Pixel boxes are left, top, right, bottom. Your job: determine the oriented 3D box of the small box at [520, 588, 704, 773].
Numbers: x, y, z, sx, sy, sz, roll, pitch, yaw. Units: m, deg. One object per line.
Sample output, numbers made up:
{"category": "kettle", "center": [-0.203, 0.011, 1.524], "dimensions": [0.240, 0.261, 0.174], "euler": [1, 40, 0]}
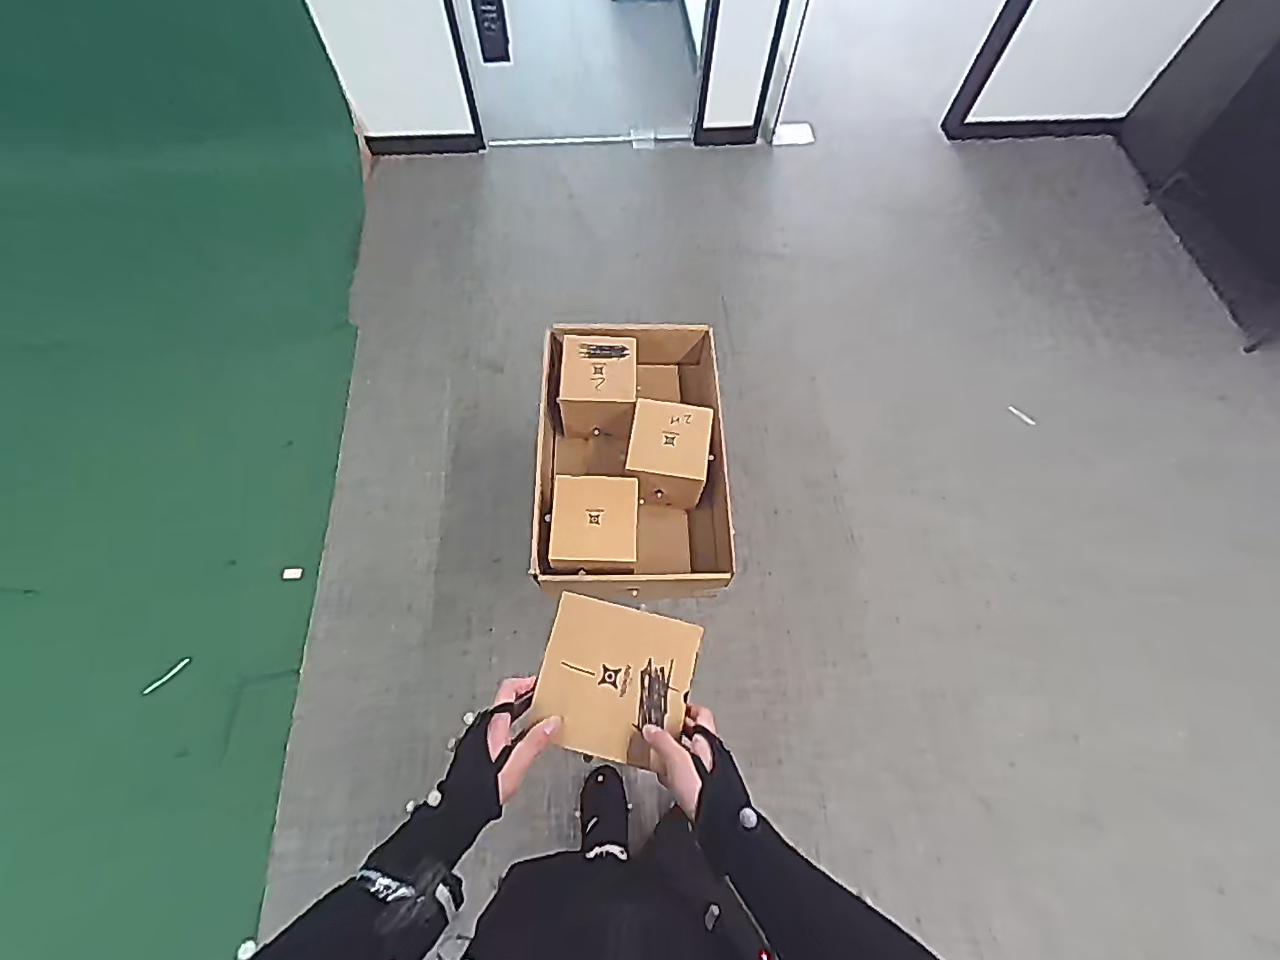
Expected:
{"category": "small box", "center": [-0.035, 0.249, 0.687], "dimensions": [0.179, 0.176, 0.168], "euler": [16, 69, 0]}
